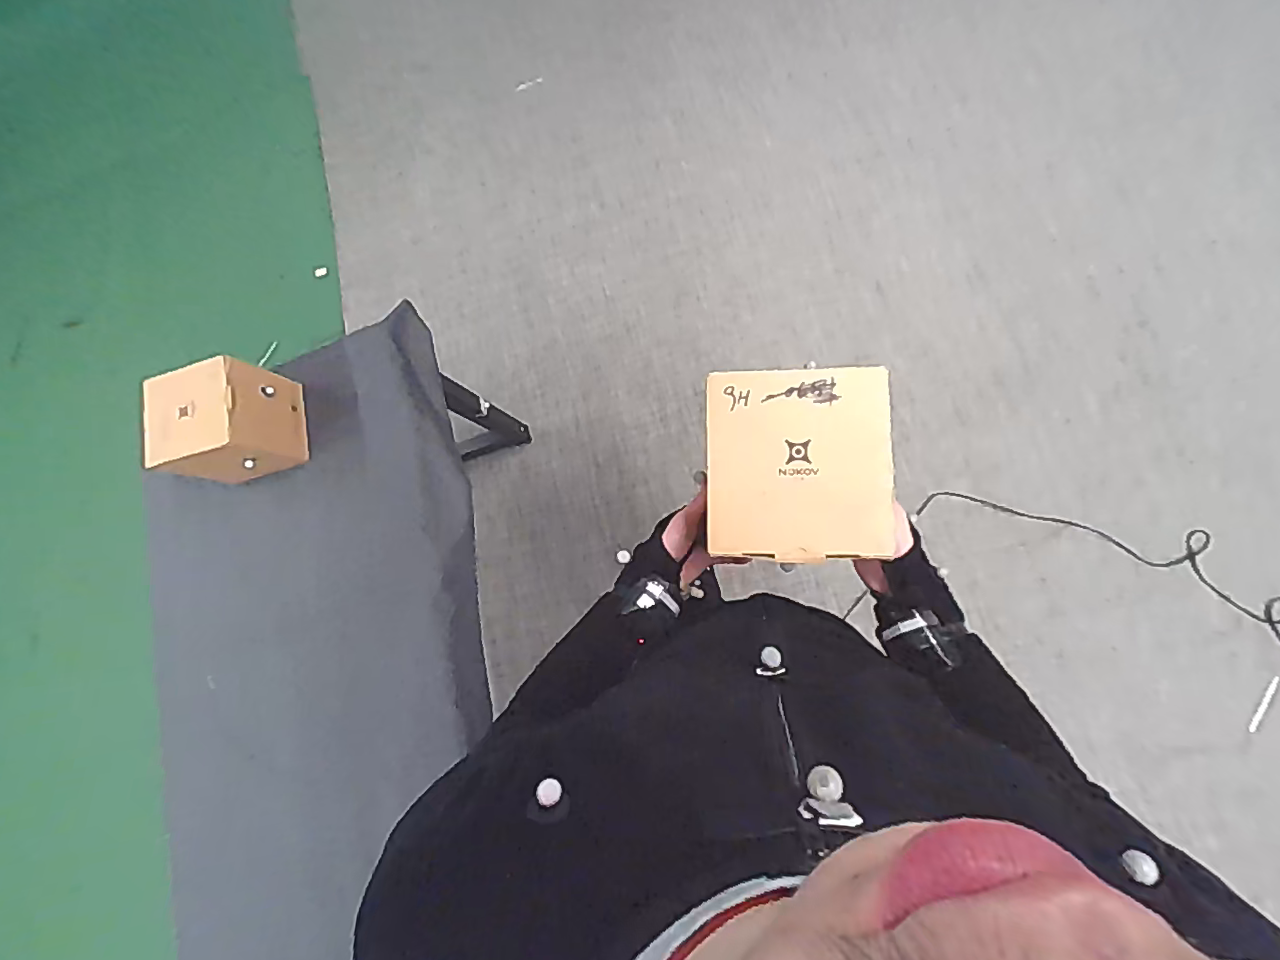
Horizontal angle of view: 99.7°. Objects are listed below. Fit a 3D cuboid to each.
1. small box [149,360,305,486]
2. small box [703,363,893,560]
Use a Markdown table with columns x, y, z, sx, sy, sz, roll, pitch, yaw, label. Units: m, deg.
| x | y | z | sx | sy | sz | roll | pitch | yaw | label |
| --- | --- | --- | --- | --- | --- | --- | --- | --- | --- |
| -0.751 | -0.097 | 1.000 | 0.179 | 0.176 | 0.168 | -15 | 76 | 10 | small box |
| 0.151 | -0.011 | 0.563 | 0.168 | 0.176 | 0.179 | 0 | 84 | 7 | small box |
